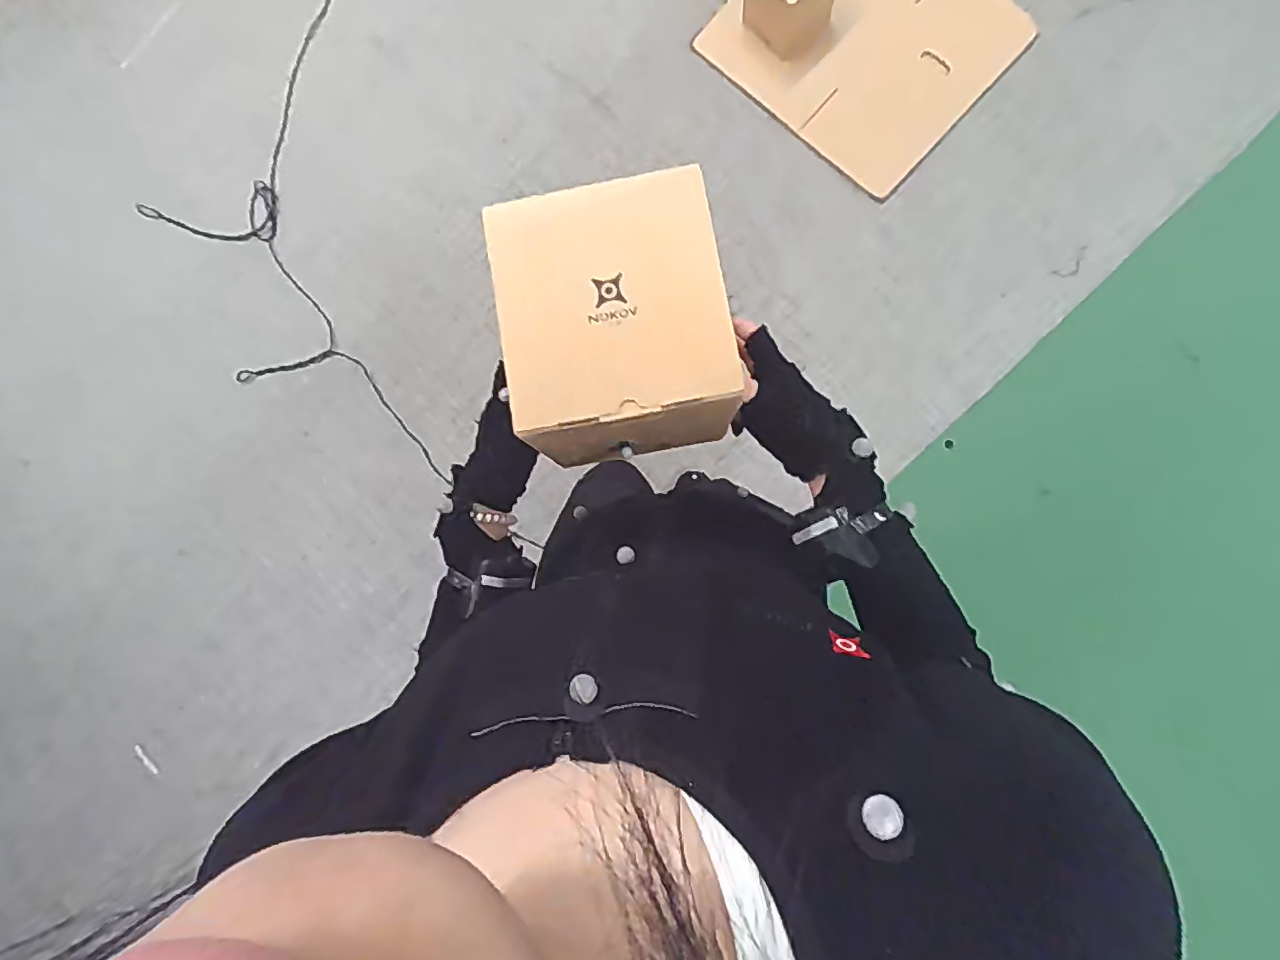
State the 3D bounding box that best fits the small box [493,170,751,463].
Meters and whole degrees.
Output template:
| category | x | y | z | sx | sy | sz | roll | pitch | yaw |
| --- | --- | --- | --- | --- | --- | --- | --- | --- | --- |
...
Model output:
| category | x | y | z | sx | sy | sz | roll | pitch | yaw |
| --- | --- | --- | --- | --- | --- | --- | --- | --- | --- |
| small box | -0.012 | -0.122 | 0.468 | 0.168 | 0.176 | 0.179 | -11 | 84 | 2 |
